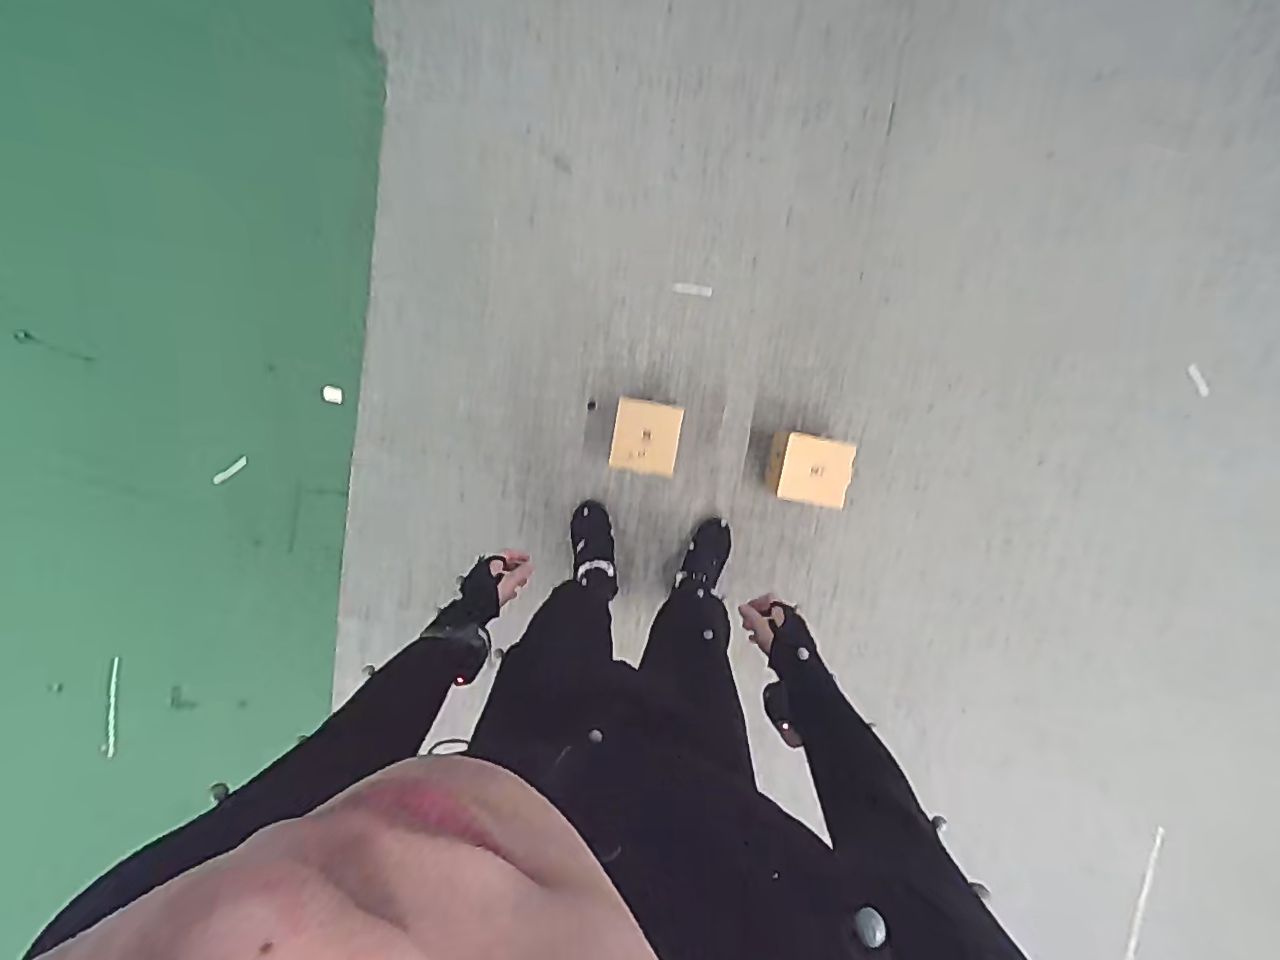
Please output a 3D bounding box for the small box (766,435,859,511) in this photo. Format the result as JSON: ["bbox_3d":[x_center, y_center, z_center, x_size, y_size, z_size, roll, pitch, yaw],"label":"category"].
[{"bbox_3d":[0.444,-0.024,1.426,0.179,0.176,0.168,10,96,-1],"label":"small box"}]

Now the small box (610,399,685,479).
[{"bbox_3d":[0.018,-0.108,1.421,0.168,0.176,0.179,10,96,0],"label":"small box"}]
